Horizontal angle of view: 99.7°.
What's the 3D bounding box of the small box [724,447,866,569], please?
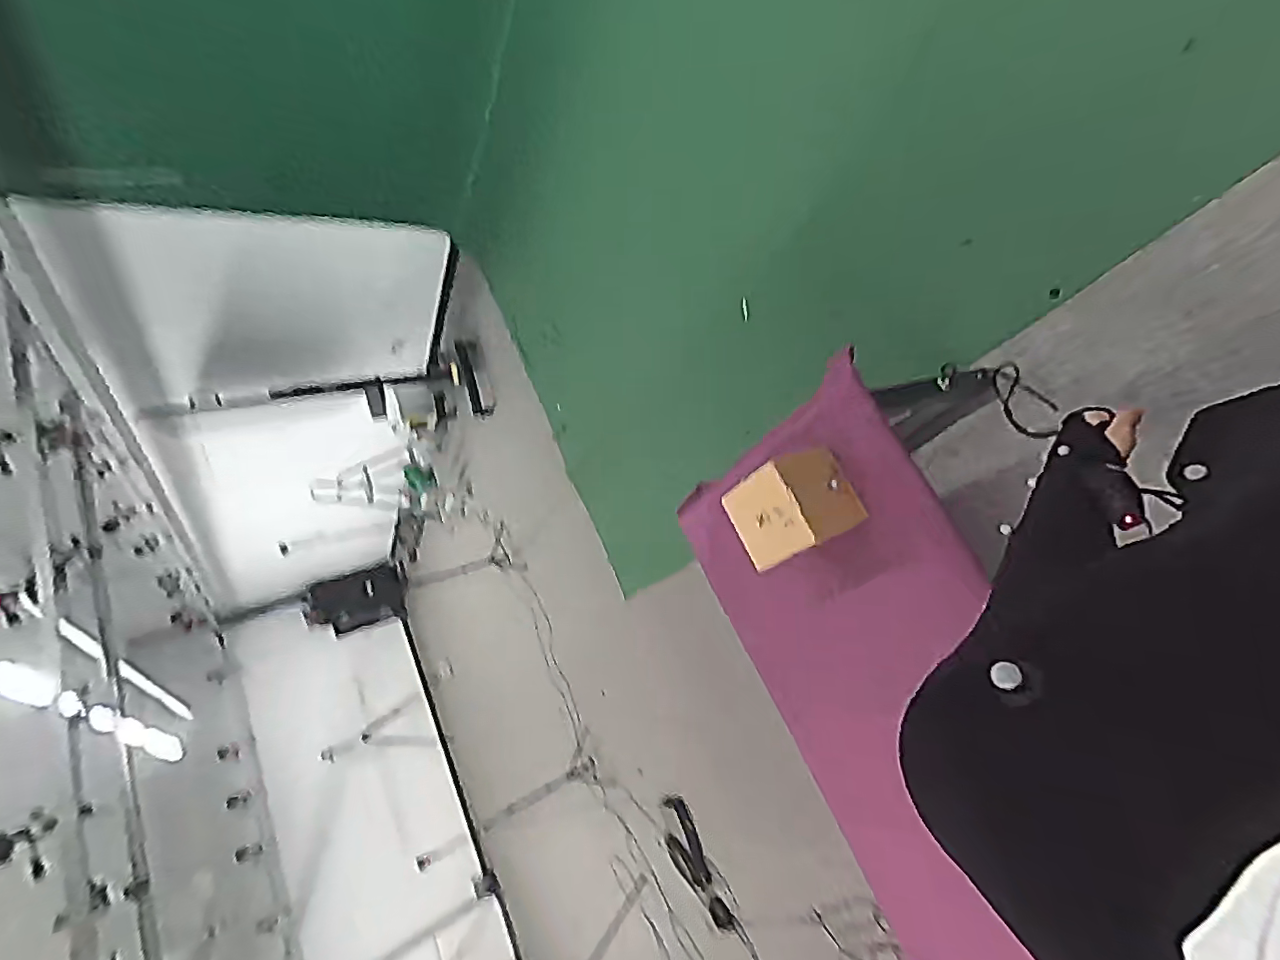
[{"bbox_3d":[0.308,0.055,1.079,0.168,0.176,0.179,64,144,15],"label":"small box"}]
